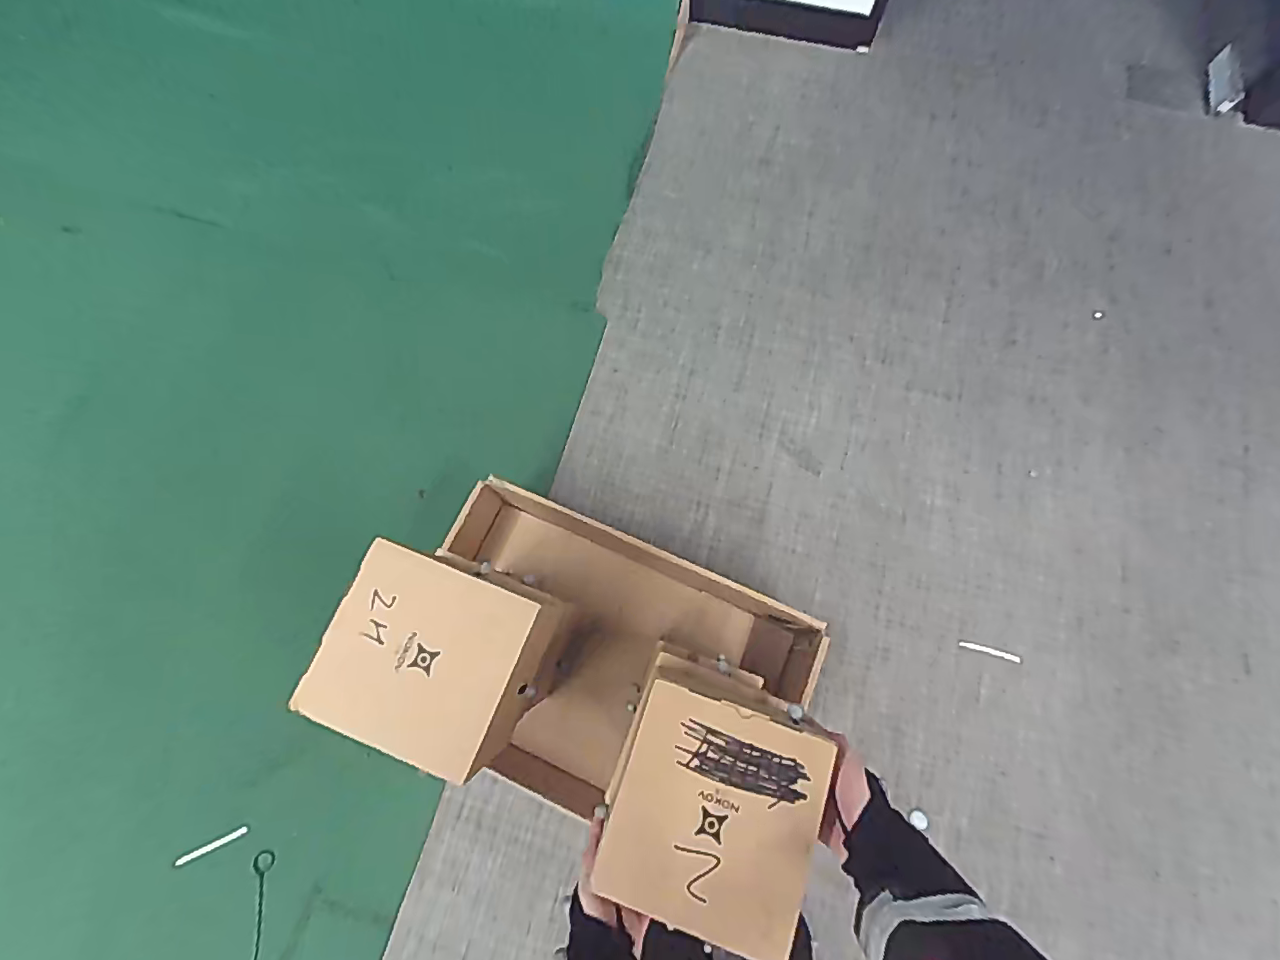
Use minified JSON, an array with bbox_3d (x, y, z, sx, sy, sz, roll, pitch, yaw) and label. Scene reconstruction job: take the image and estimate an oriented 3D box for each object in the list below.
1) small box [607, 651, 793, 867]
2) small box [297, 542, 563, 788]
[{"bbox_3d":[0.073,0.332,0.686,0.168,0.176,0.179,21,75,7],"label":"small box"},{"bbox_3d":[-0.195,0.181,0.565,0.179,0.176,0.168,22,76,6],"label":"small box"}]
